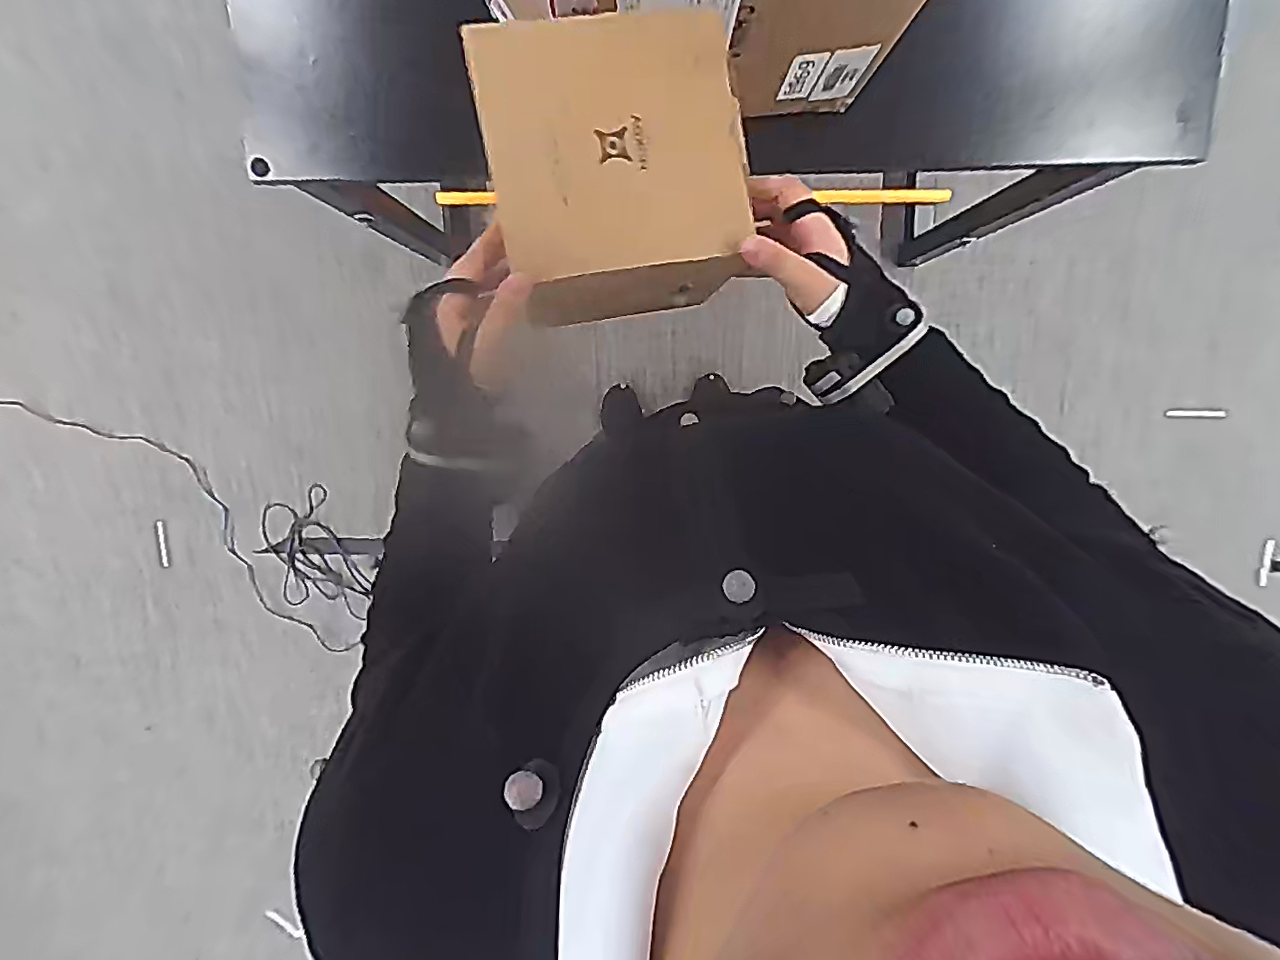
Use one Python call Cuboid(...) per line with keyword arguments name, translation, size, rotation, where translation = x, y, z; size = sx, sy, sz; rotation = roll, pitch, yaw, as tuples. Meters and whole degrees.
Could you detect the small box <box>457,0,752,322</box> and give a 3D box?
Cuboid(name="small box", translation=(-0.030, -0.238, 0.441), size=(0.179, 0.176, 0.168), rotation=(-12, 96, -6))
